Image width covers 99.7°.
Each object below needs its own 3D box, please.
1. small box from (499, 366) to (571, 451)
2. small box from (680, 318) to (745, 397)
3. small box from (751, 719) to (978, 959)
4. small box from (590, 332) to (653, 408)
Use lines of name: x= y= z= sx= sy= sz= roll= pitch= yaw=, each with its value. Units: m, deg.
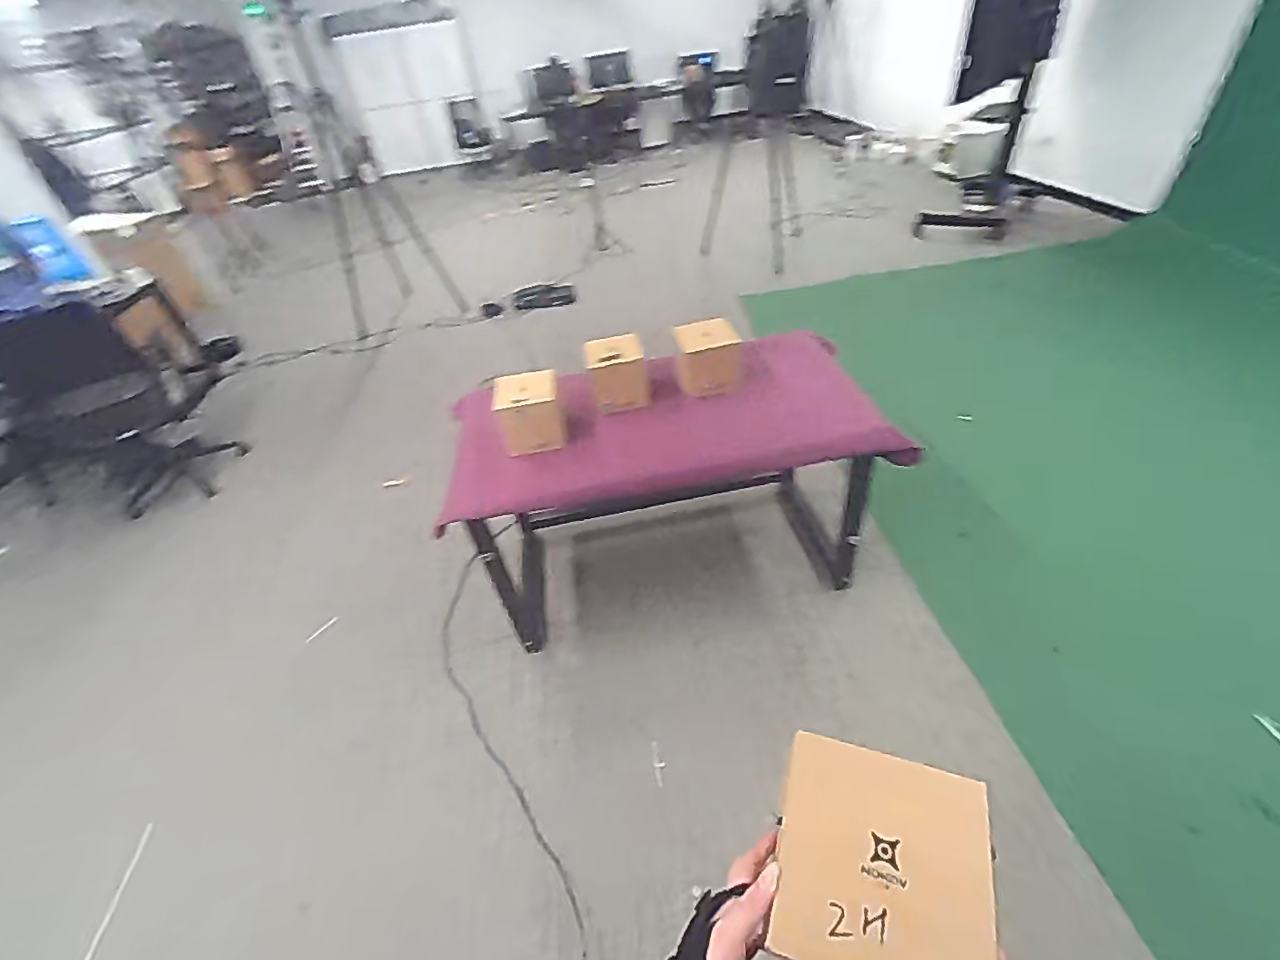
small box: x=-0.301 y=-0.207 z=1.577 sx=0.168 sy=0.176 sz=0.179 roll=-10 pitch=40 yaw=0
small box: x=0.223 y=-0.383 z=1.693 sx=0.168 sy=0.176 sz=0.179 roll=-11 pitch=42 yaw=-2
small box: x=0.203 y=0.365 z=0.521 sx=0.168 sy=0.176 sz=0.179 roll=9 pitch=52 yaw=17
small box: x=-0.057 y=-0.336 z=1.686 sx=0.168 sy=0.176 sz=0.179 roll=-10 pitch=40 yaw=-2
